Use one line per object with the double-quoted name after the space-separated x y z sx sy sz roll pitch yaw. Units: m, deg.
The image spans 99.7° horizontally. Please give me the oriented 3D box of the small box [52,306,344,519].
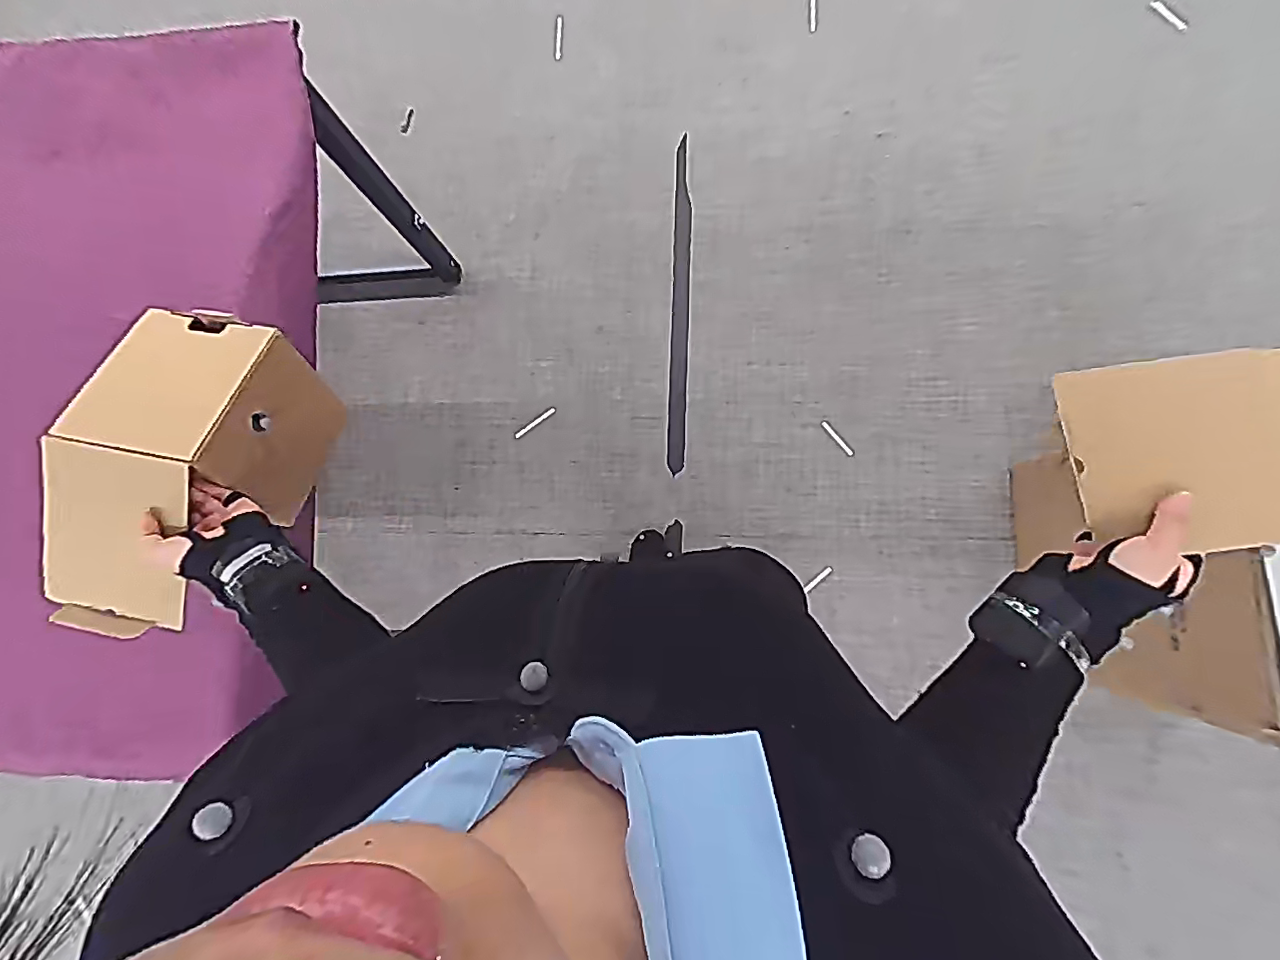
-0.491 -0.072 0.639 0.168 0.176 0.179 11 63 6 "small box"
